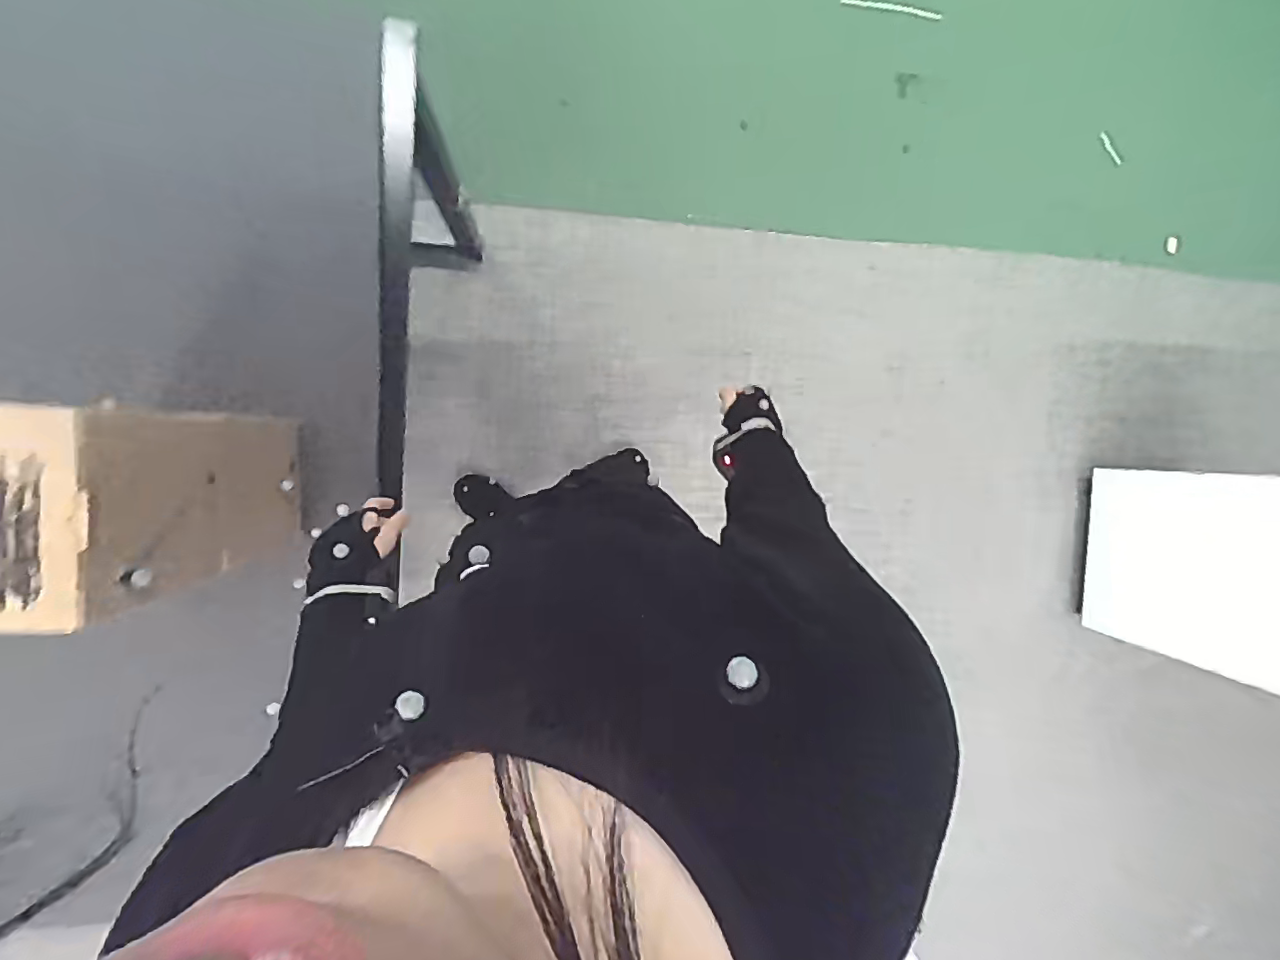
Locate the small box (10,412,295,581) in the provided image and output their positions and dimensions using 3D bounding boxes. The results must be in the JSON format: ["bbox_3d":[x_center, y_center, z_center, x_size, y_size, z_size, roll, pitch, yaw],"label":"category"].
[{"bbox_3d":[-0.524,0.013,0.608,0.179,0.176,0.168,-1,94,-8],"label":"small box"}]
